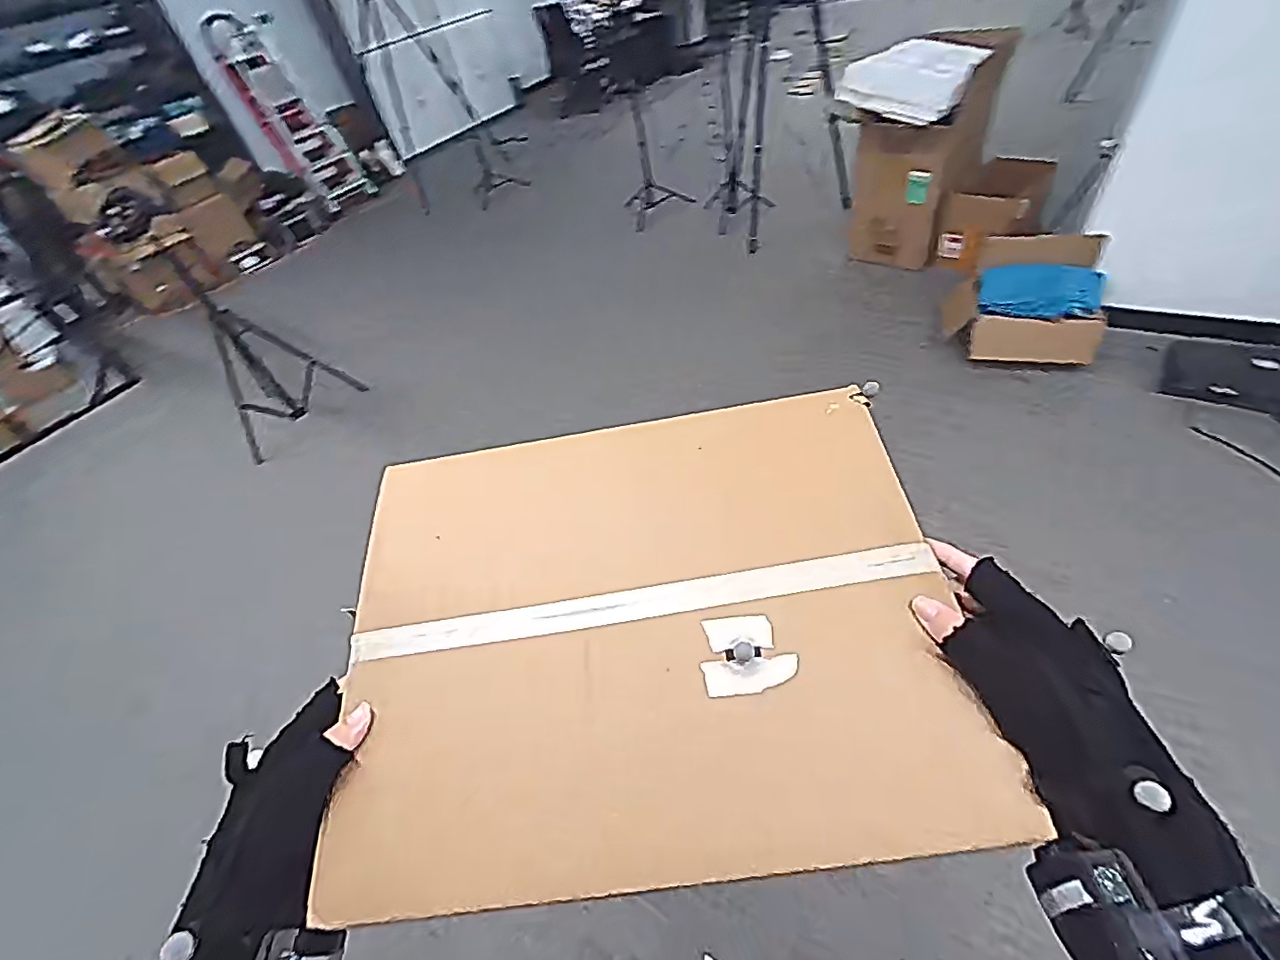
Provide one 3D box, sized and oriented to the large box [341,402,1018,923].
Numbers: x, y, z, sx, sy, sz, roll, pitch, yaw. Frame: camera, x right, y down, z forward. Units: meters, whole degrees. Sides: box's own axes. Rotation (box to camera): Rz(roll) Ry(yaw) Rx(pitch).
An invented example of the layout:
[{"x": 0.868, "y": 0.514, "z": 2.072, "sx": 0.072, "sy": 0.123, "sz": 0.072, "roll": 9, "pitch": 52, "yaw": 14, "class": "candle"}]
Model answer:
[{"x": 0.017, "y": 0.174, "z": 0.512, "sx": 0.408, "sy": 0.320, "sz": 0.320, "roll": -10, "pitch": 57, "yaw": 2, "class": "large box"}]
